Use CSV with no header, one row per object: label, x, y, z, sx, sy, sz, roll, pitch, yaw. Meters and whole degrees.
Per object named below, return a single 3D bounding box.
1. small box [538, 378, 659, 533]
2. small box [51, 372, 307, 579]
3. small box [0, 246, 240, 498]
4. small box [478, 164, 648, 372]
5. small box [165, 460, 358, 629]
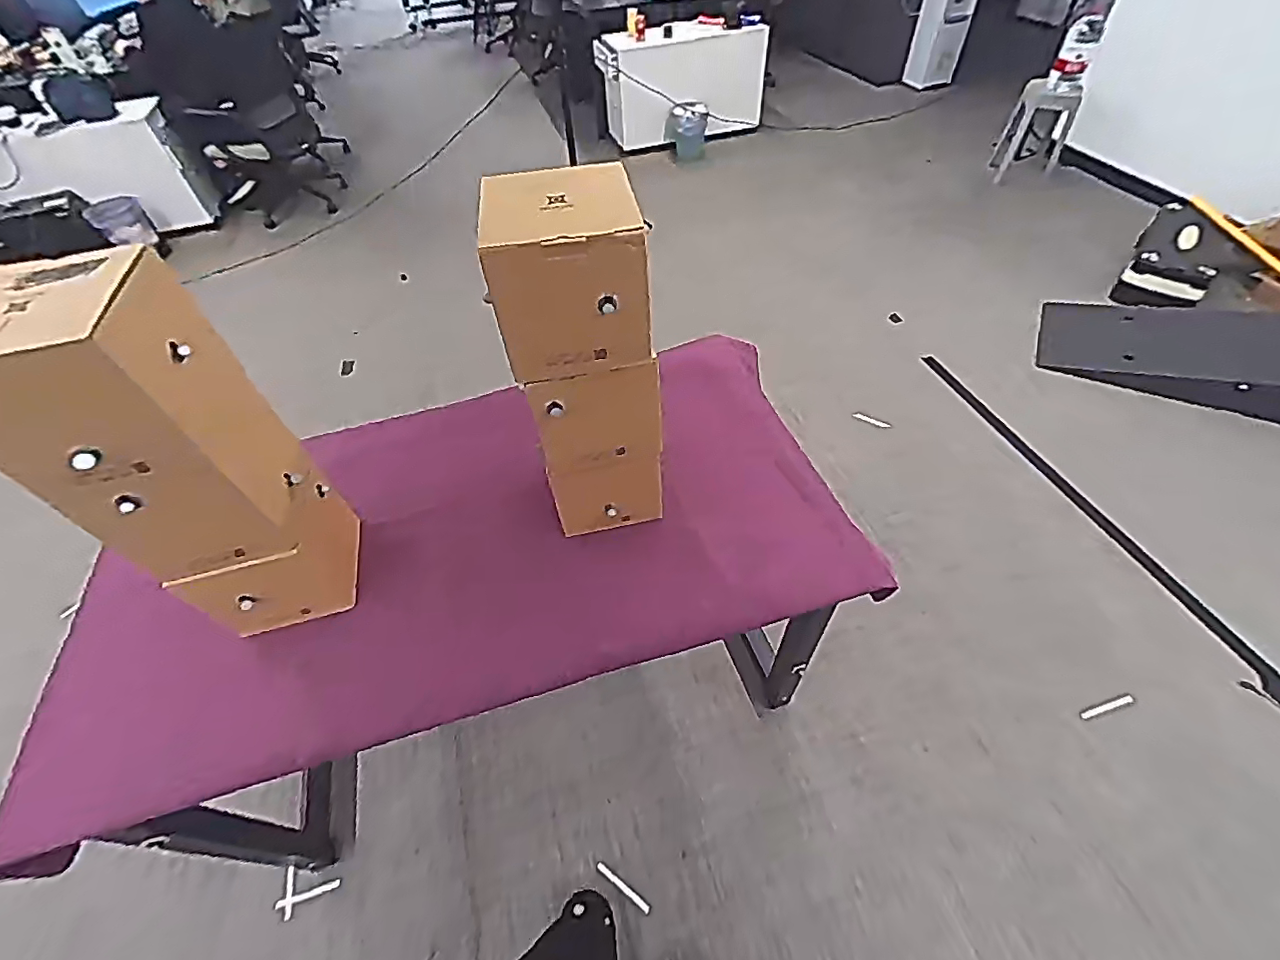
small box,-0.067,-0.039,0.892,0.168,0.176,0.179,-11,51,-5
small box,-0.552,-0.005,0.684,0.168,0.176,0.179,-15,50,-8
small box,-0.556,-0.110,0.557,0.168,0.176,0.179,-14,51,-8
small box,-0.085,-0.241,0.636,0.168,0.176,0.179,-9,49,-5
small box,-0.542,0.103,0.807,0.168,0.176,0.179,-15,51,-8
